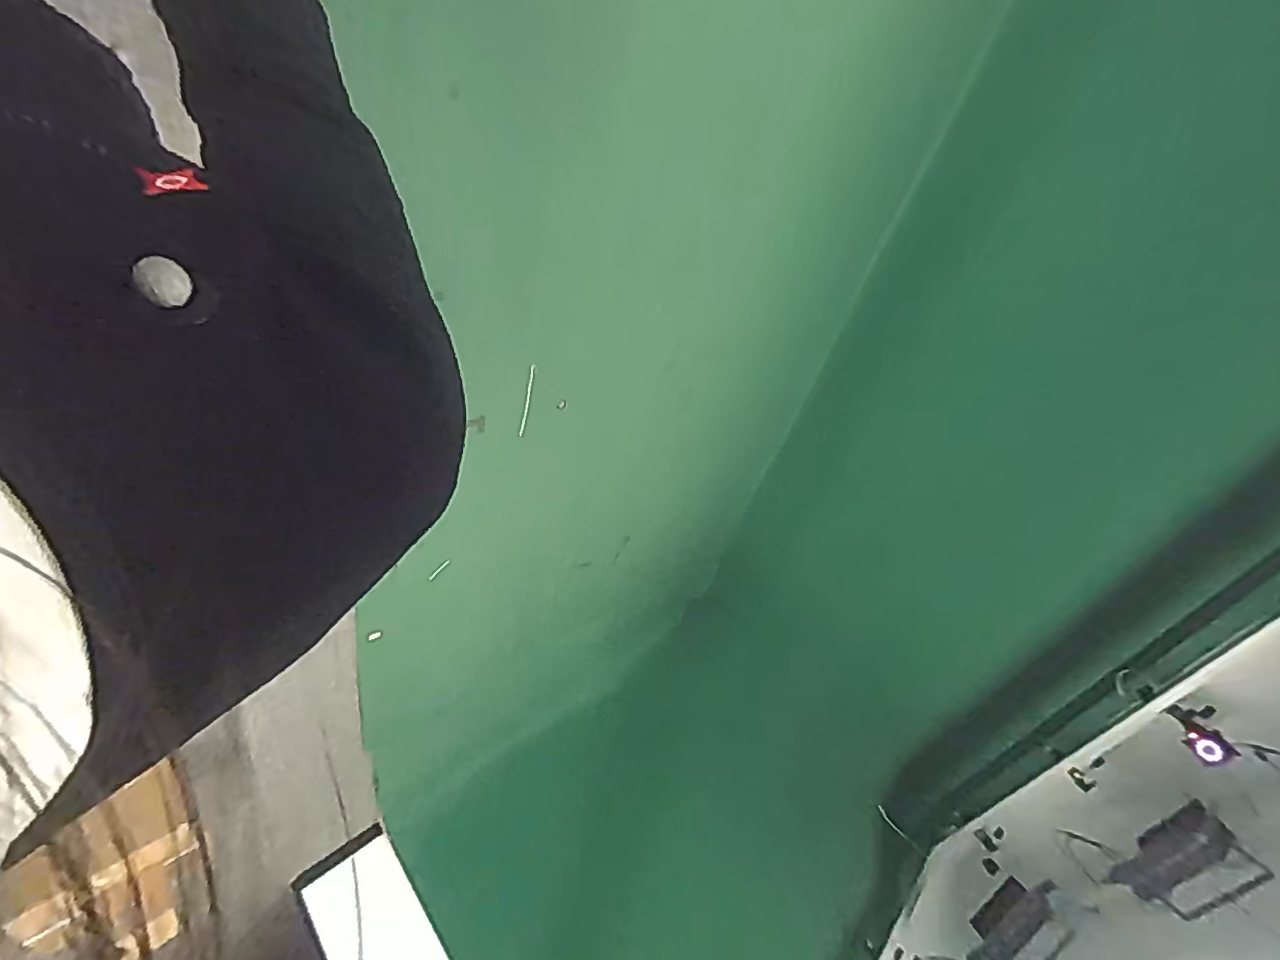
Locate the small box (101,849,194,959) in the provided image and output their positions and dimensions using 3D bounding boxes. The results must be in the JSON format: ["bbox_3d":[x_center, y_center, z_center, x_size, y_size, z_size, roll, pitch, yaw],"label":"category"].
[{"bbox_3d":[-1.509,1.291,1.654,0.179,0.176,0.168,-21,135,-40],"label":"small box"}]
